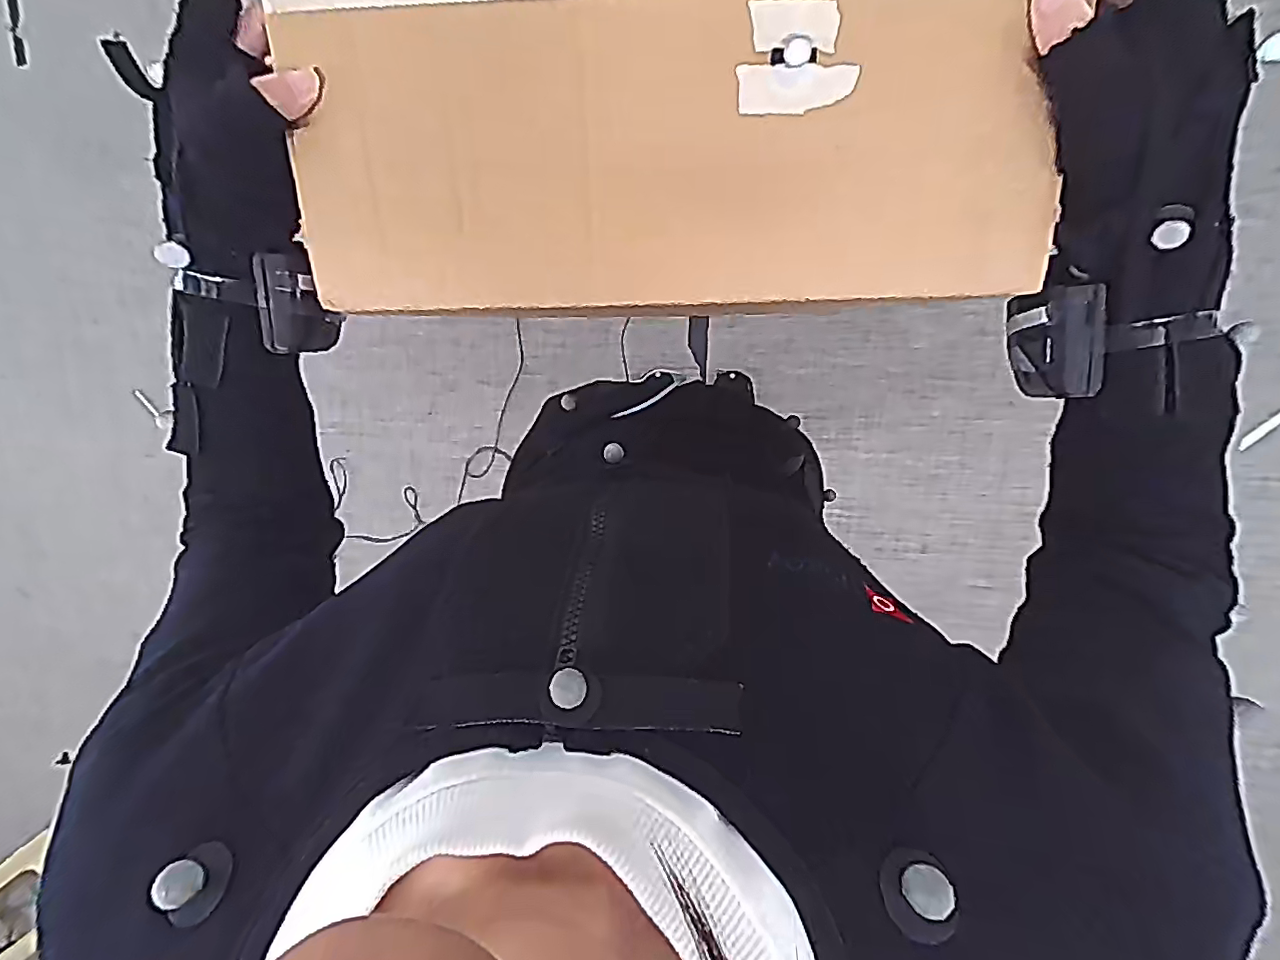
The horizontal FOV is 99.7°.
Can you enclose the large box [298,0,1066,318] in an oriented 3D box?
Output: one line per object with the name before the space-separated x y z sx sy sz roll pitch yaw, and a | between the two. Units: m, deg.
large box | 0.021 -0.297 0.419 0.408 0.320 0.320 -1 107 3
